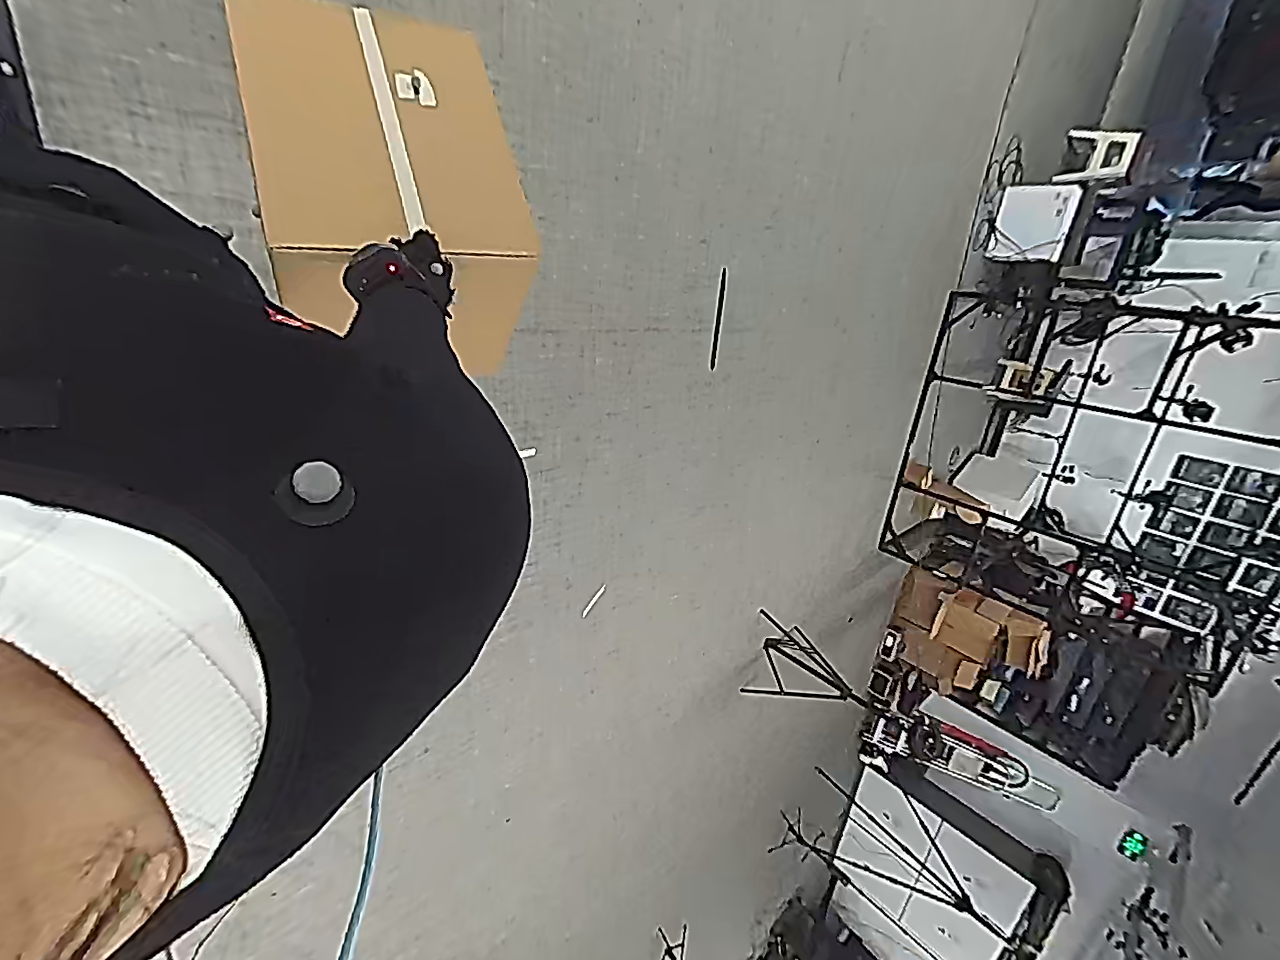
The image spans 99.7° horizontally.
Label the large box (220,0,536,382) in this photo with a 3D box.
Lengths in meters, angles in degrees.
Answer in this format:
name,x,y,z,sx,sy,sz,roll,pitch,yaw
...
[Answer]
name,x,y,z,sx,sy,sz,roll,pitch,yaw
large box,-0.397,-0.411,0.837,0.320,0.320,0.408,-11,74,-31
